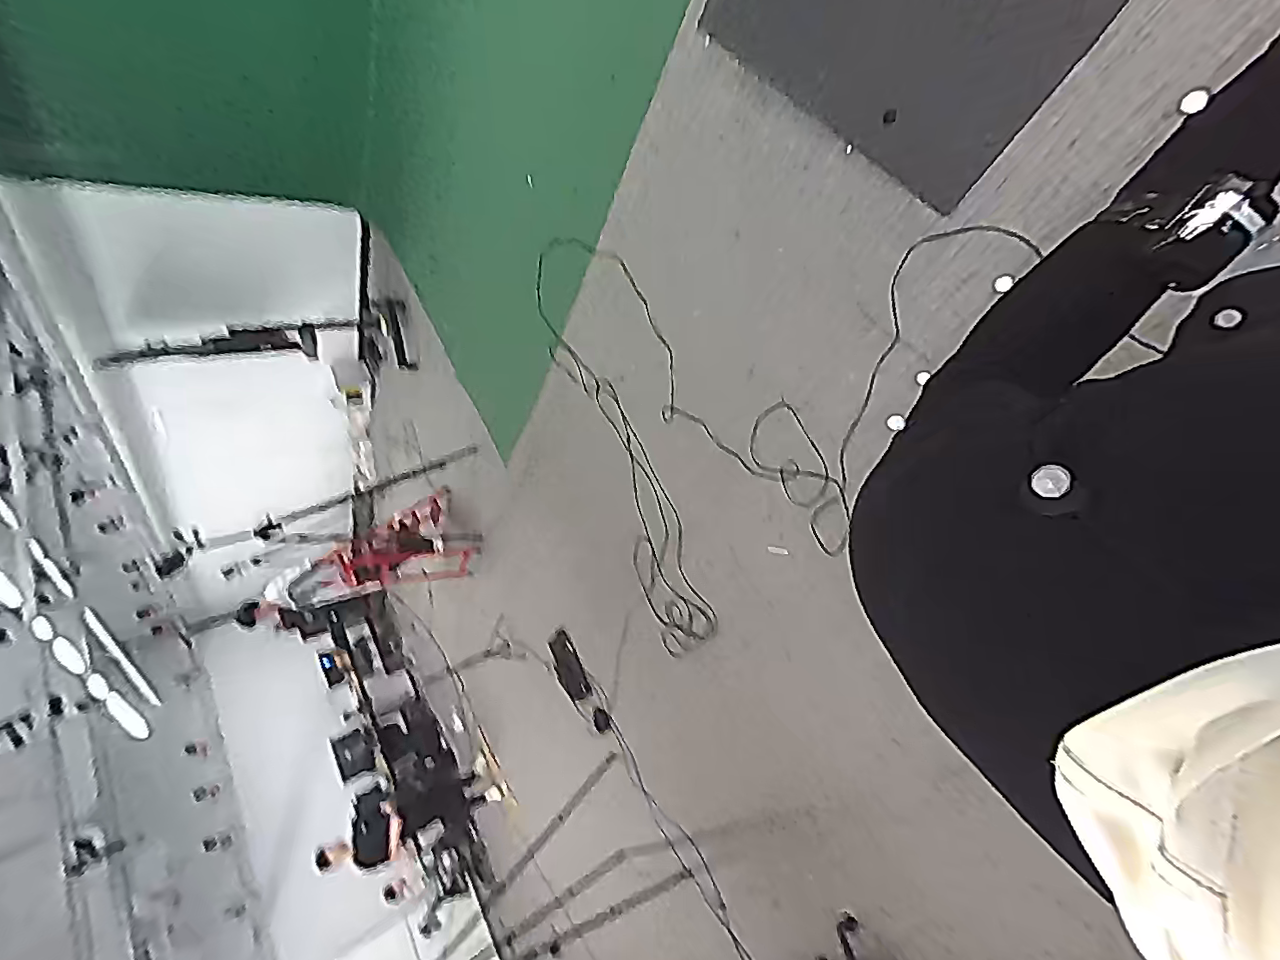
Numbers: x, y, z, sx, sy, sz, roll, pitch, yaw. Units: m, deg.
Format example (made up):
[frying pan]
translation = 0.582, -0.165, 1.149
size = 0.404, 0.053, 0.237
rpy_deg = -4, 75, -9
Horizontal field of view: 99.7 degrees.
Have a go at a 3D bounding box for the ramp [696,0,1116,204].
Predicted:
[ramp]
translation = 0.590, -1.234, 1.400
size = 0.991, 0.206, 0.509
rpy_deg = 55, 138, 22
